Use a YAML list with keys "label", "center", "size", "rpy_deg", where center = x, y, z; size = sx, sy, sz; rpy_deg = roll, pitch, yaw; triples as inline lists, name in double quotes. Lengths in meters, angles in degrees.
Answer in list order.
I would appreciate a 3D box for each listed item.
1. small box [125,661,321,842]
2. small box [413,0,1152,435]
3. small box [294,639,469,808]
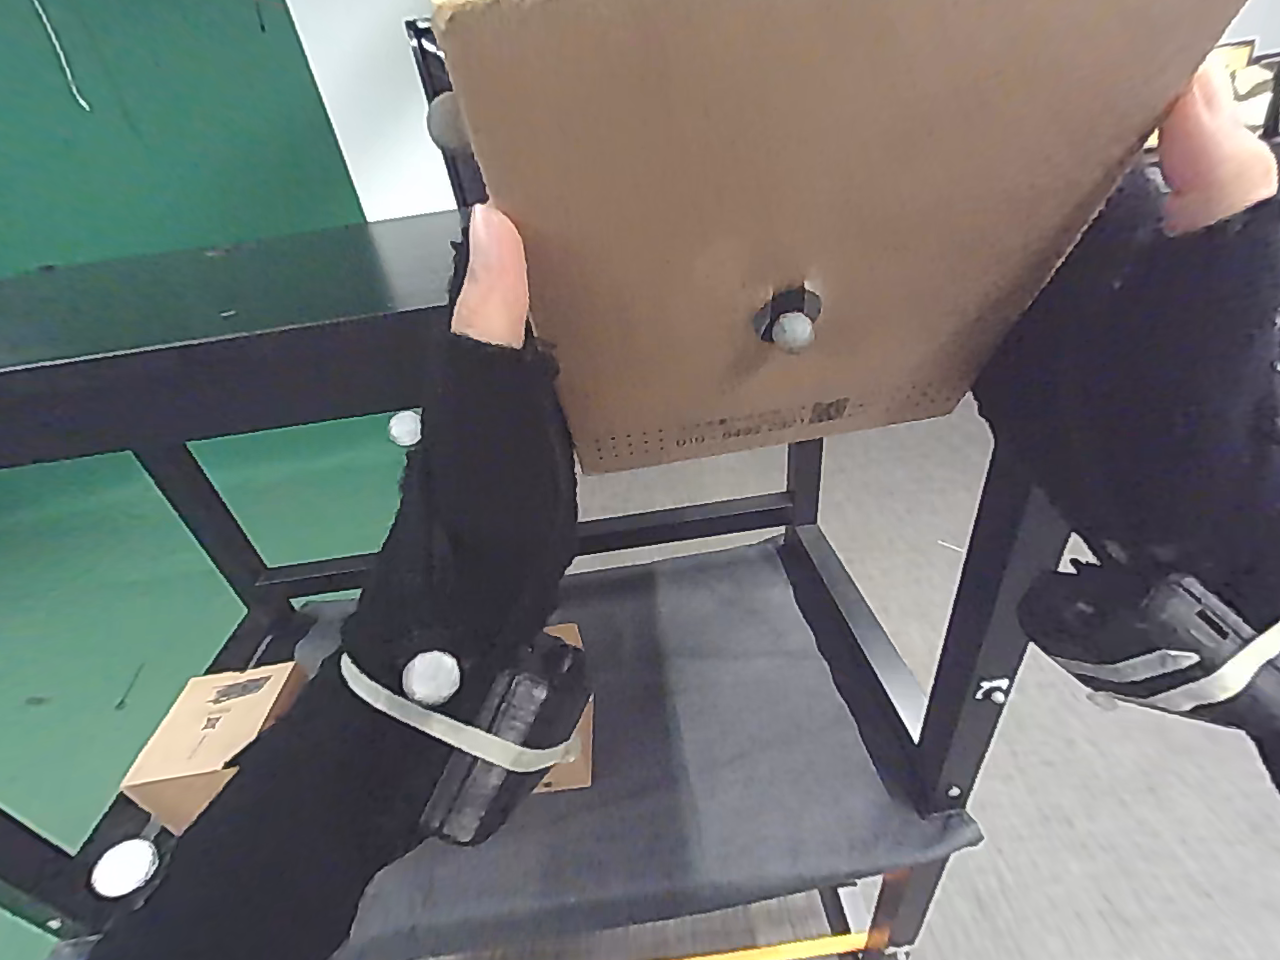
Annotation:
- label: "small box"
  center: [-0.603, 0.412, 0.829]
  size: [0.168, 0.176, 0.179]
  rpy_deg: [-10, 32, -1]
- label: "small box"
  center: [0.032, -0.132, 0.209]
  size: [0.168, 0.176, 0.179]
  rpy_deg: [-9, 60, -1]
- label: "small box"
  center: [-0.379, 0.378, 0.834]
  size: [0.168, 0.176, 0.179]
  rpy_deg: [-8, 32, 0]
